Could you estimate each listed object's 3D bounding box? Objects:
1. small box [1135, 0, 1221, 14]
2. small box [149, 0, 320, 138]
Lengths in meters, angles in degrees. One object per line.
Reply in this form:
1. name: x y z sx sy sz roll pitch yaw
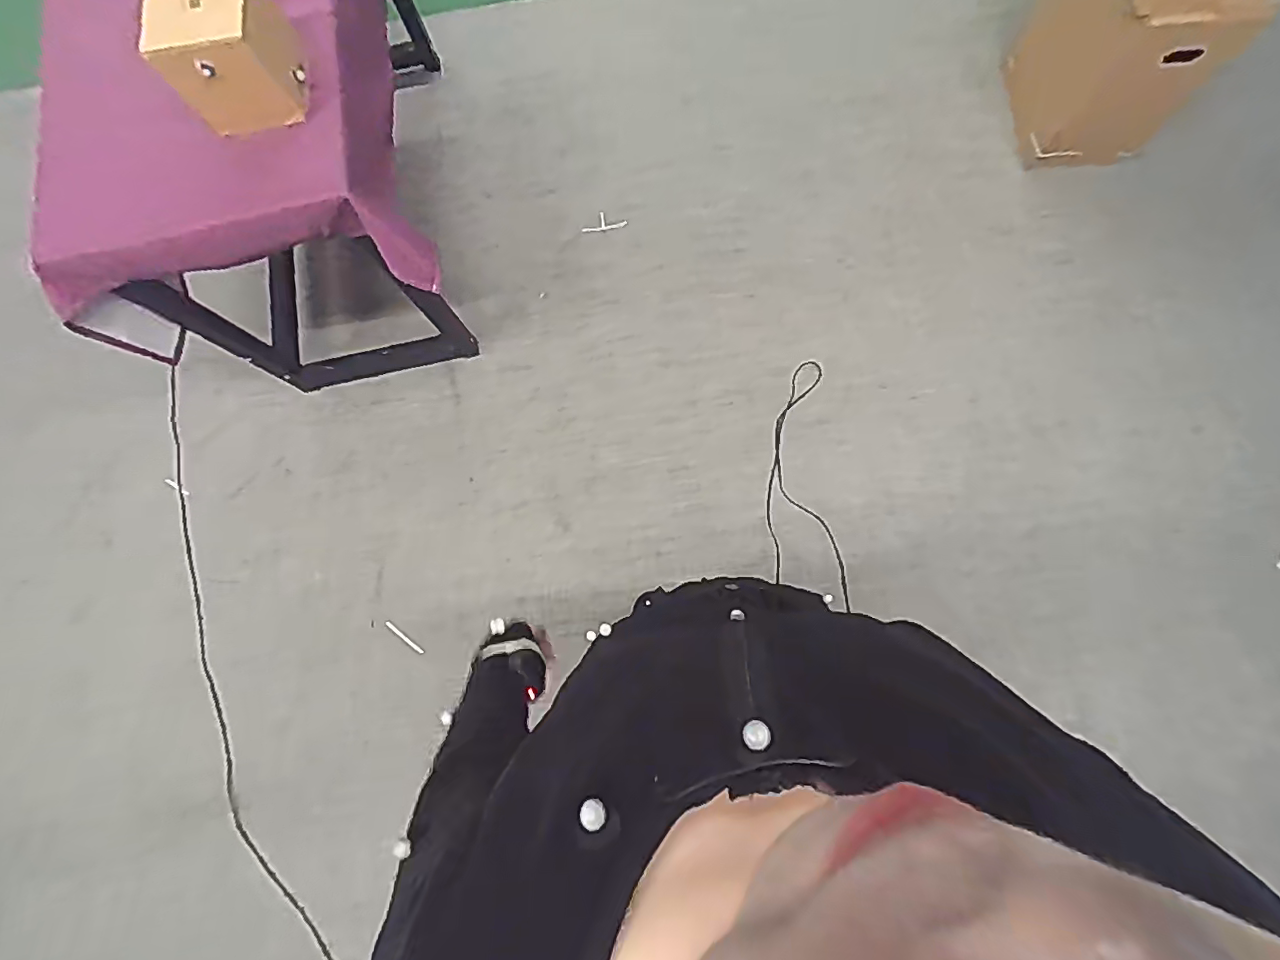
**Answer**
1. small box: 1.242 -1.175 1.190 0.179 0.176 0.168 -1 77 3
2. small box: -0.717 -0.752 0.973 0.179 0.176 0.168 -6 78 3
